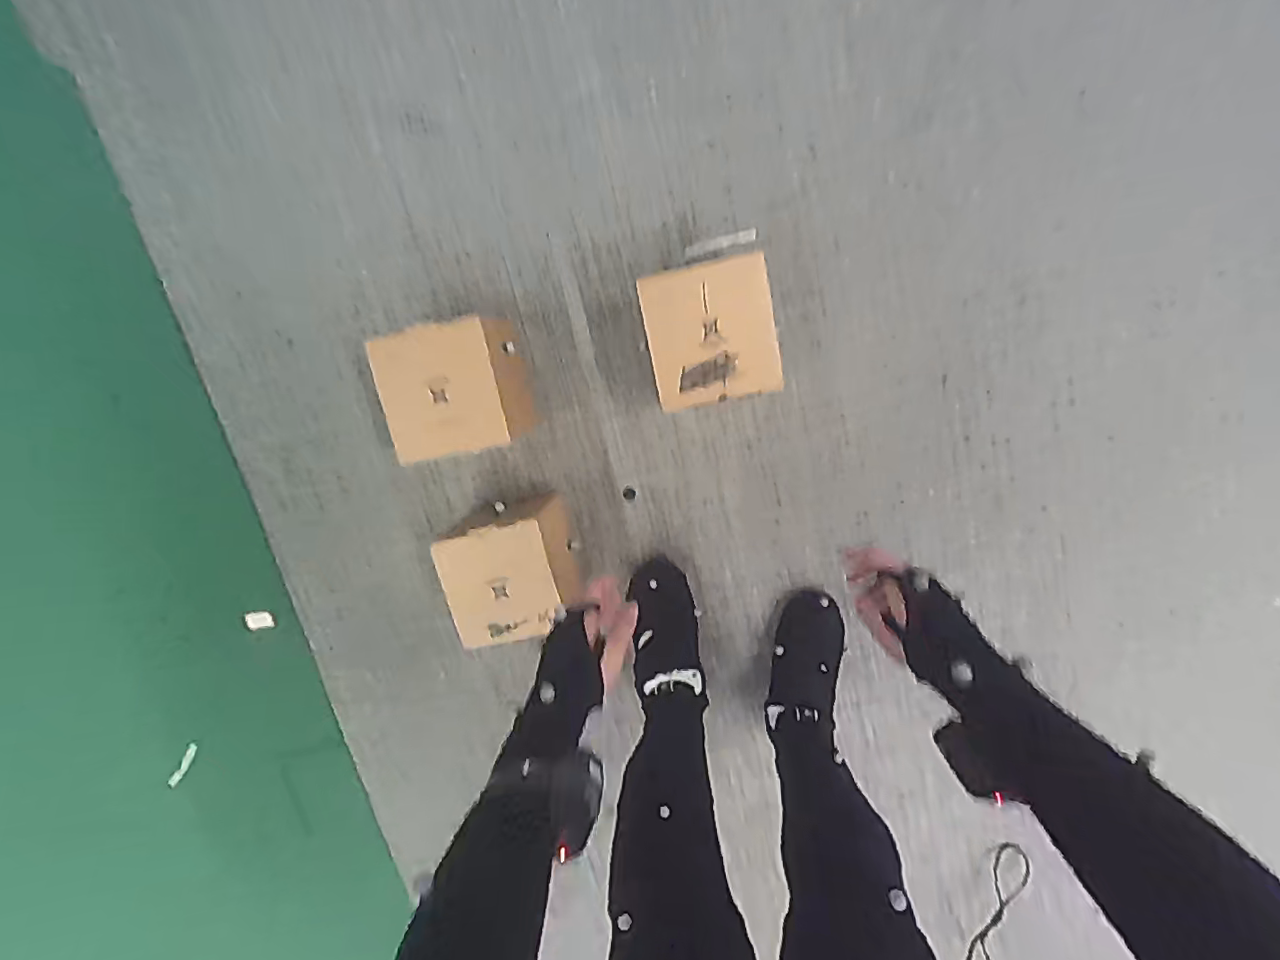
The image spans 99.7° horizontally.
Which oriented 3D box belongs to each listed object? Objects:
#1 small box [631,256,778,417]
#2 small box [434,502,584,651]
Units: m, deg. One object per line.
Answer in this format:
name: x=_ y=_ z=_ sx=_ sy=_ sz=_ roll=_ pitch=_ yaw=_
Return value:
small box: x=0.090 y=-0.199 z=0.772 sx=0.168 sy=0.176 sz=0.179 roll=-12 pitch=101 yaw=6
small box: x=-0.198 y=0.141 z=0.865 sx=0.168 sy=0.176 sz=0.179 roll=-13 pitch=101 yaw=6
